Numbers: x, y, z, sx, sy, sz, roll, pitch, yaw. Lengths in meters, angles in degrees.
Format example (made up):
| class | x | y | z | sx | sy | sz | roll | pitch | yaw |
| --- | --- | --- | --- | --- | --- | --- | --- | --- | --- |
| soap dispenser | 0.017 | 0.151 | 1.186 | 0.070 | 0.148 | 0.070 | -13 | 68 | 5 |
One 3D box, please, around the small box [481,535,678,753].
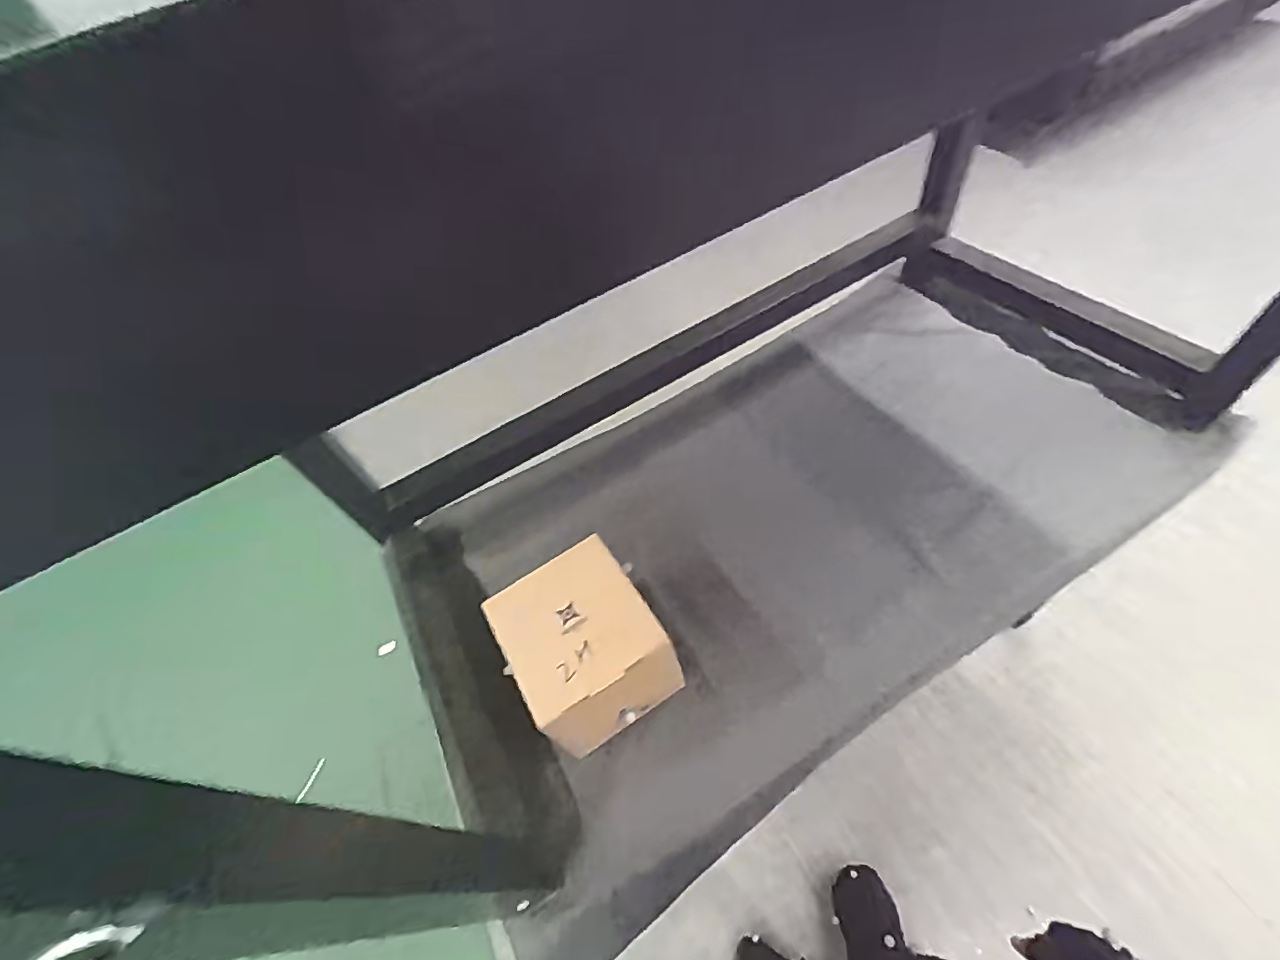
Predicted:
| class | x | y | z | sx | sy | sz | roll | pitch | yaw |
| --- | --- | --- | --- | --- | --- | --- | --- | --- | --- |
| small box | -0.070 | 0.210 | 0.687 | 0.168 | 0.176 | 0.179 | -32 | 53 | -11 |
